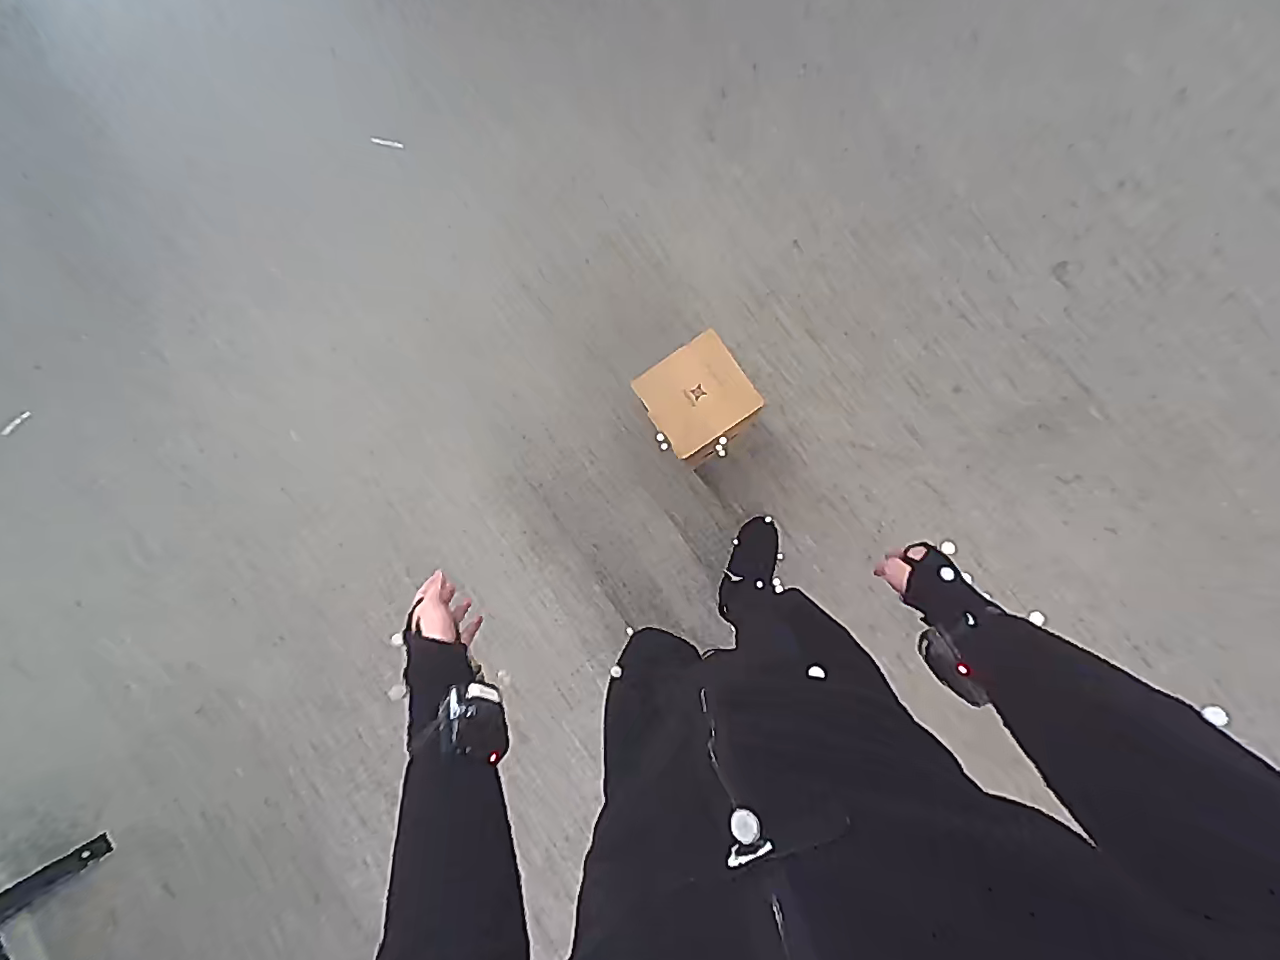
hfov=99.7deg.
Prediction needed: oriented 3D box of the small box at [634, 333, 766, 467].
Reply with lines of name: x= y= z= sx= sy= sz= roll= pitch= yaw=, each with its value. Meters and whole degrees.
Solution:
small box: x=0.112 y=-0.137 z=1.012 sx=0.179 sy=0.176 sz=0.168 roll=-35 pitch=85 yaw=3

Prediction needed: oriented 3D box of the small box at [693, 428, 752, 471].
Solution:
small box: x=0.156 y=-0.135 z=1.335 sx=0.168 sy=0.176 sz=0.179 roll=-34 pitch=85 yaw=3
